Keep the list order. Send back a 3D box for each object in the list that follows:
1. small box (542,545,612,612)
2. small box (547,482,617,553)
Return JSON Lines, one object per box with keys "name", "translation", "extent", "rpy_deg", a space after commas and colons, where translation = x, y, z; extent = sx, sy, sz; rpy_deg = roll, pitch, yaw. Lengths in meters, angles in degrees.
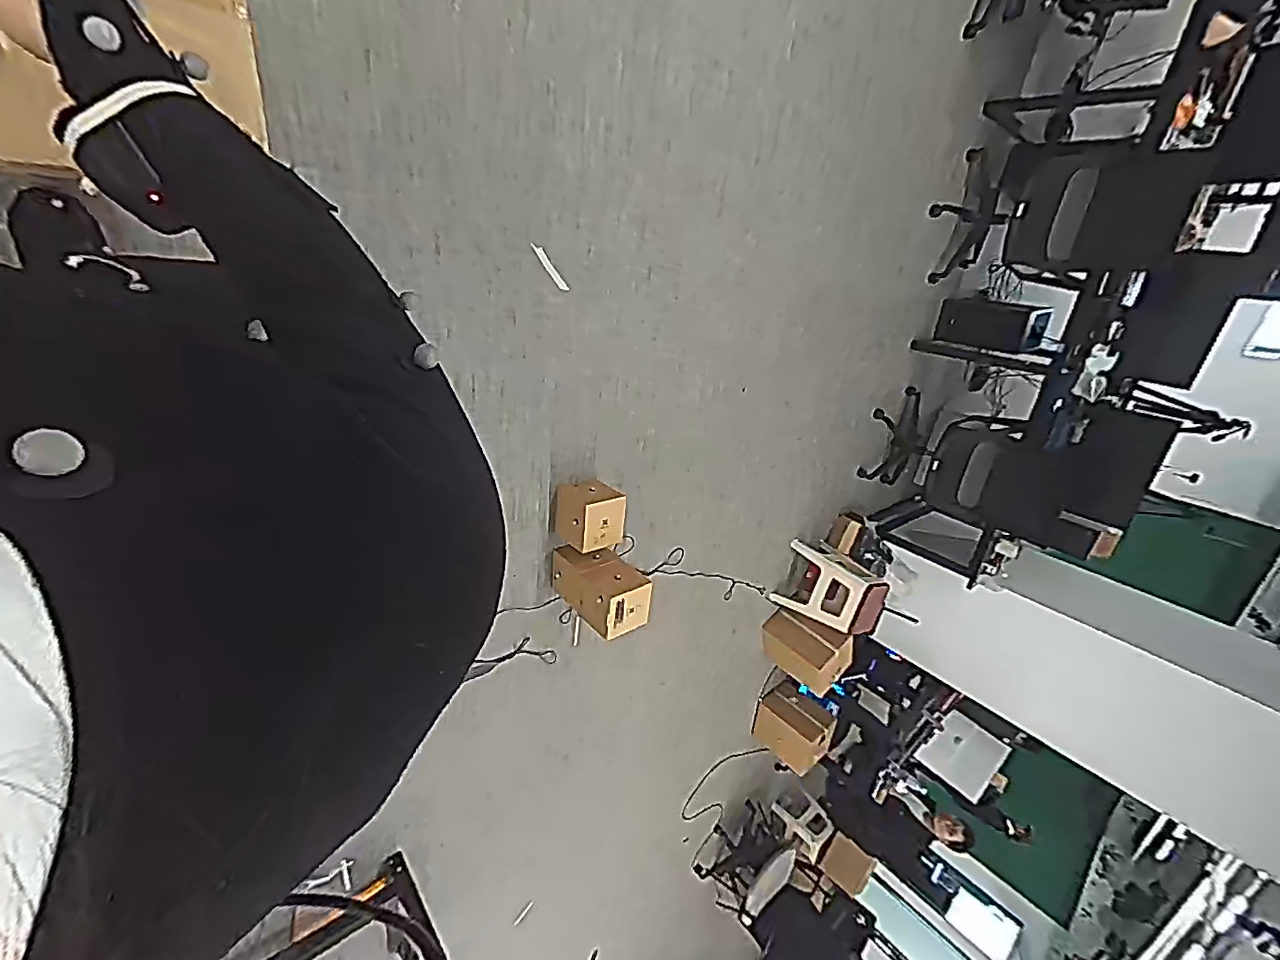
{"name": "small box", "translation": [-0.222, 0.329, 1.896], "extent": [0.179, 0.176, 0.168], "rpy_deg": [-13, 119, -39]}
{"name": "small box", "translation": [-0.199, 0.116, 1.806], "extent": [0.168, 0.176, 0.179], "rpy_deg": [-11, 118, -40]}
